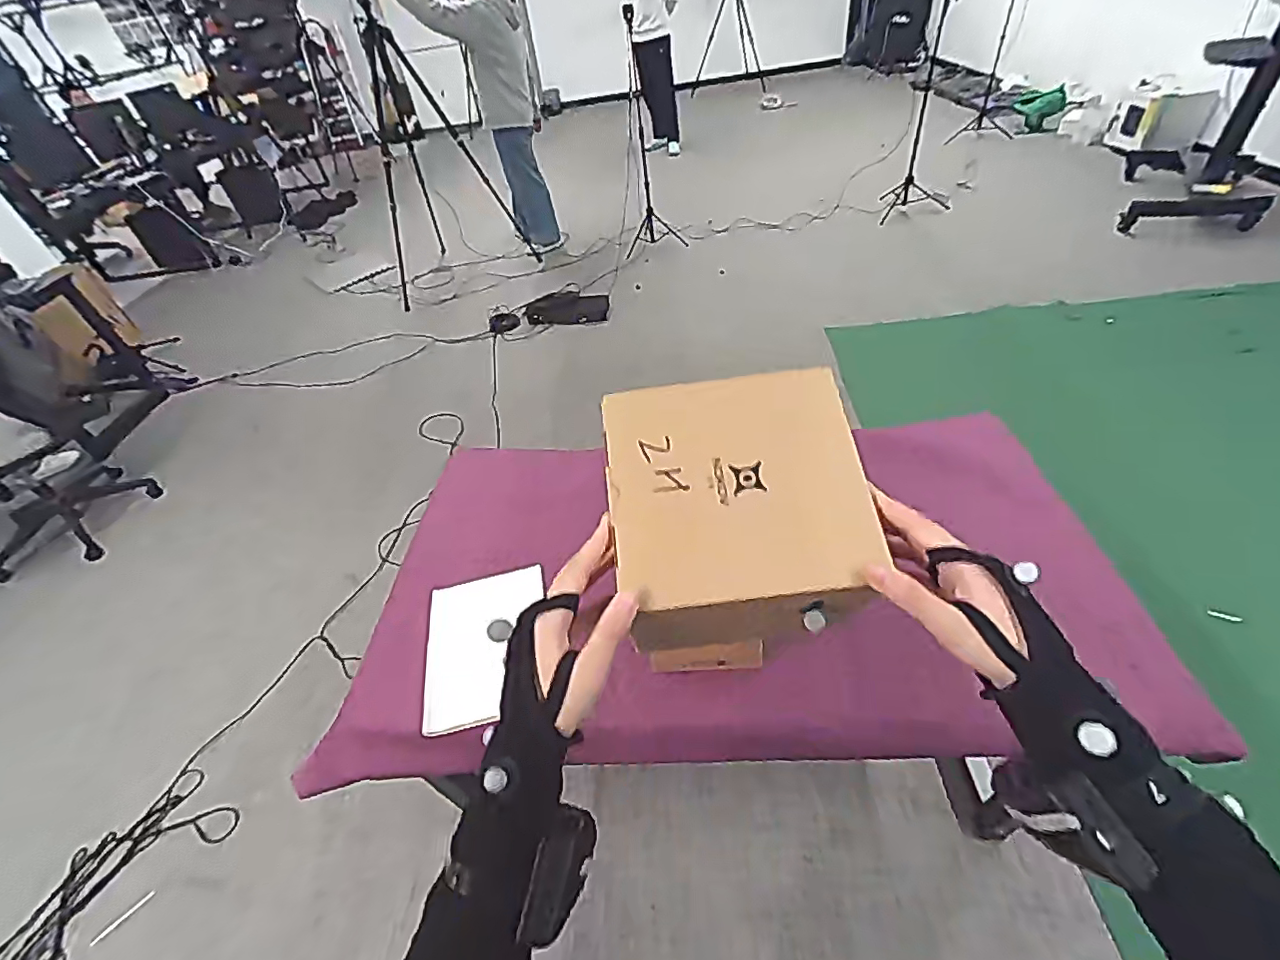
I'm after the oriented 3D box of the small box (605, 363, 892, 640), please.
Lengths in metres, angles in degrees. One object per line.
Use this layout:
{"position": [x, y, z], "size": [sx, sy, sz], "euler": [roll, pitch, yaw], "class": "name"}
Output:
{"position": [0.070, 0.028, 0.443], "size": [0.179, 0.176, 0.168], "euler": [-7, 64, 1], "class": "small box"}
